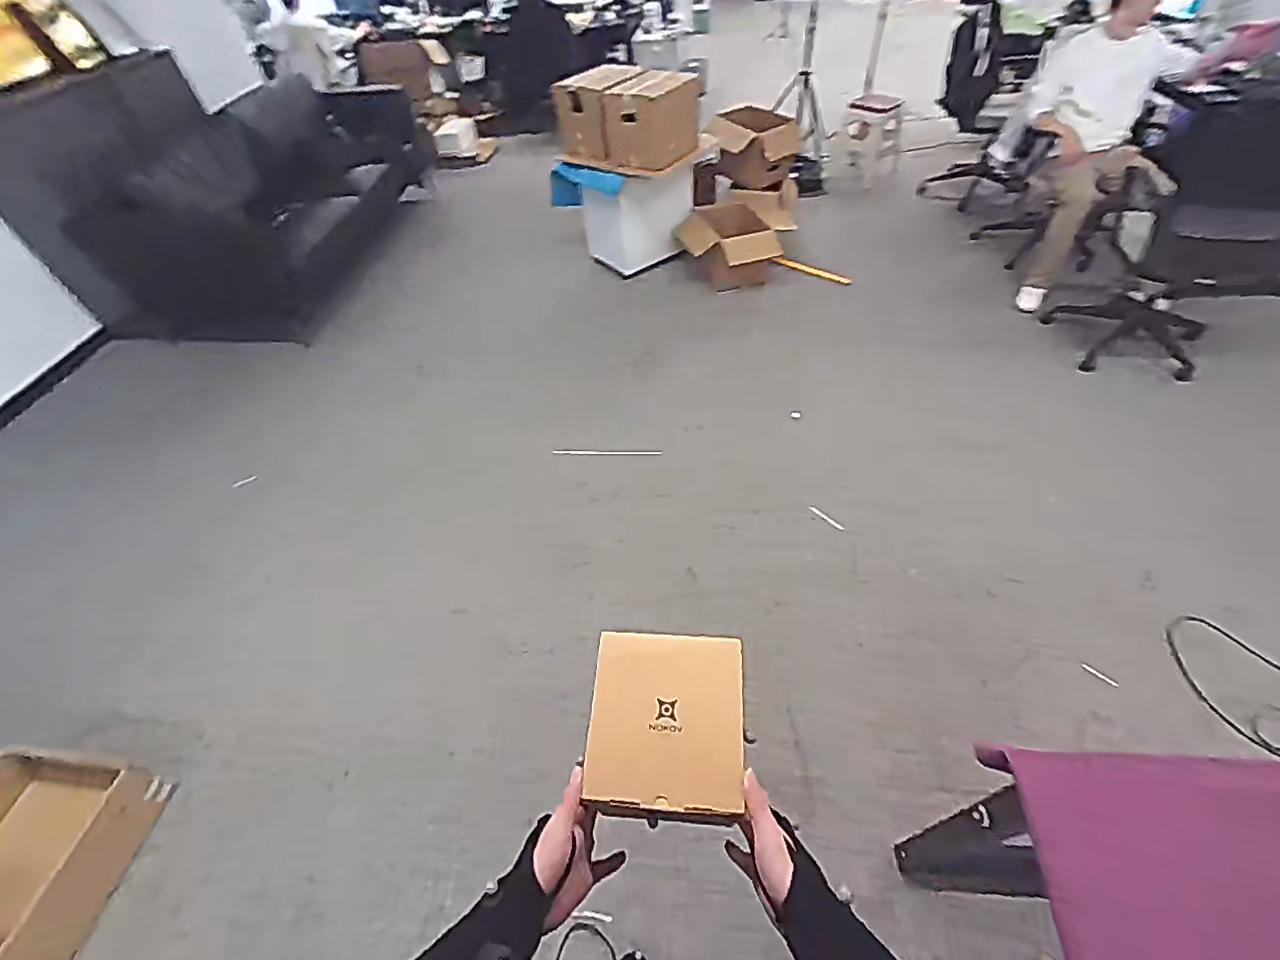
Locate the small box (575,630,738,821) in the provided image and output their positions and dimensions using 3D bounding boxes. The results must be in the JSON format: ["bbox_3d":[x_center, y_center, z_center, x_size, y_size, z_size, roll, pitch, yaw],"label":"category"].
[{"bbox_3d":[0.025,0.296,0.647,0.168,0.176,0.179,1,56,5],"label":"small box"}]
